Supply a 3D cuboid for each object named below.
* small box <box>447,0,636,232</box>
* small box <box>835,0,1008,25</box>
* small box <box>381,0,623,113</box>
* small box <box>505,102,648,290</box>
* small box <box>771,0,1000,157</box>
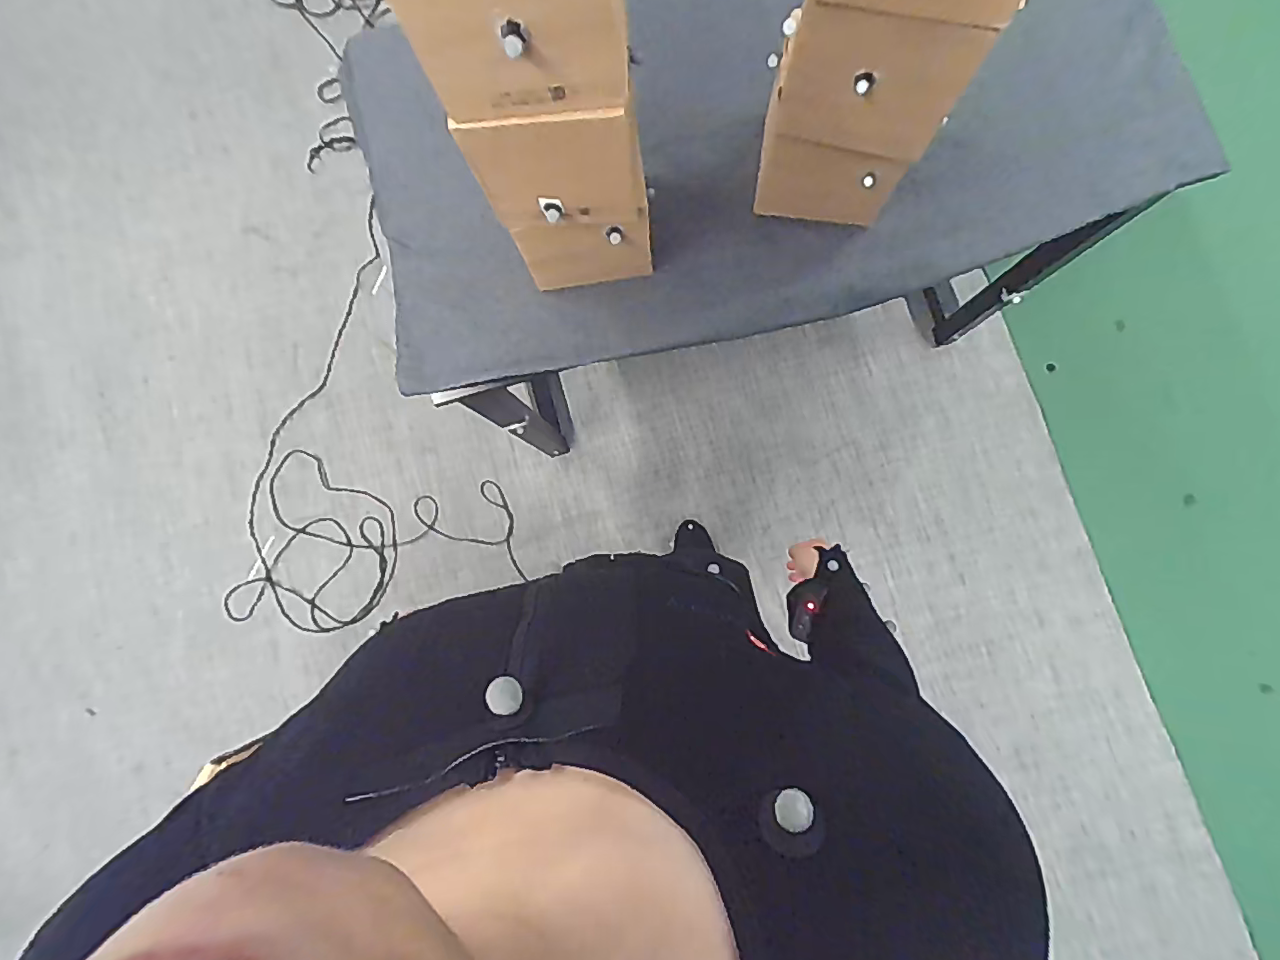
[{"bbox_3d":[-0.094,-0.398,0.582,0.168,0.176,0.179,-3,84,4],"label":"small box"},{"bbox_3d":[0.241,-0.495,0.405,0.179,0.176,0.168,13,84,4],"label":"small box"},{"bbox_3d":[-0.105,-0.422,0.420,0.168,0.176,0.179,-4,84,4],"label":"small box"},{"bbox_3d":[-0.084,-0.384,0.744,0.179,0.176,0.168,-8,83,3],"label":"small box"},{"bbox_3d":[0.253,-0.478,0.566,0.179,0.176,0.168,15,84,5],"label":"small box"}]
